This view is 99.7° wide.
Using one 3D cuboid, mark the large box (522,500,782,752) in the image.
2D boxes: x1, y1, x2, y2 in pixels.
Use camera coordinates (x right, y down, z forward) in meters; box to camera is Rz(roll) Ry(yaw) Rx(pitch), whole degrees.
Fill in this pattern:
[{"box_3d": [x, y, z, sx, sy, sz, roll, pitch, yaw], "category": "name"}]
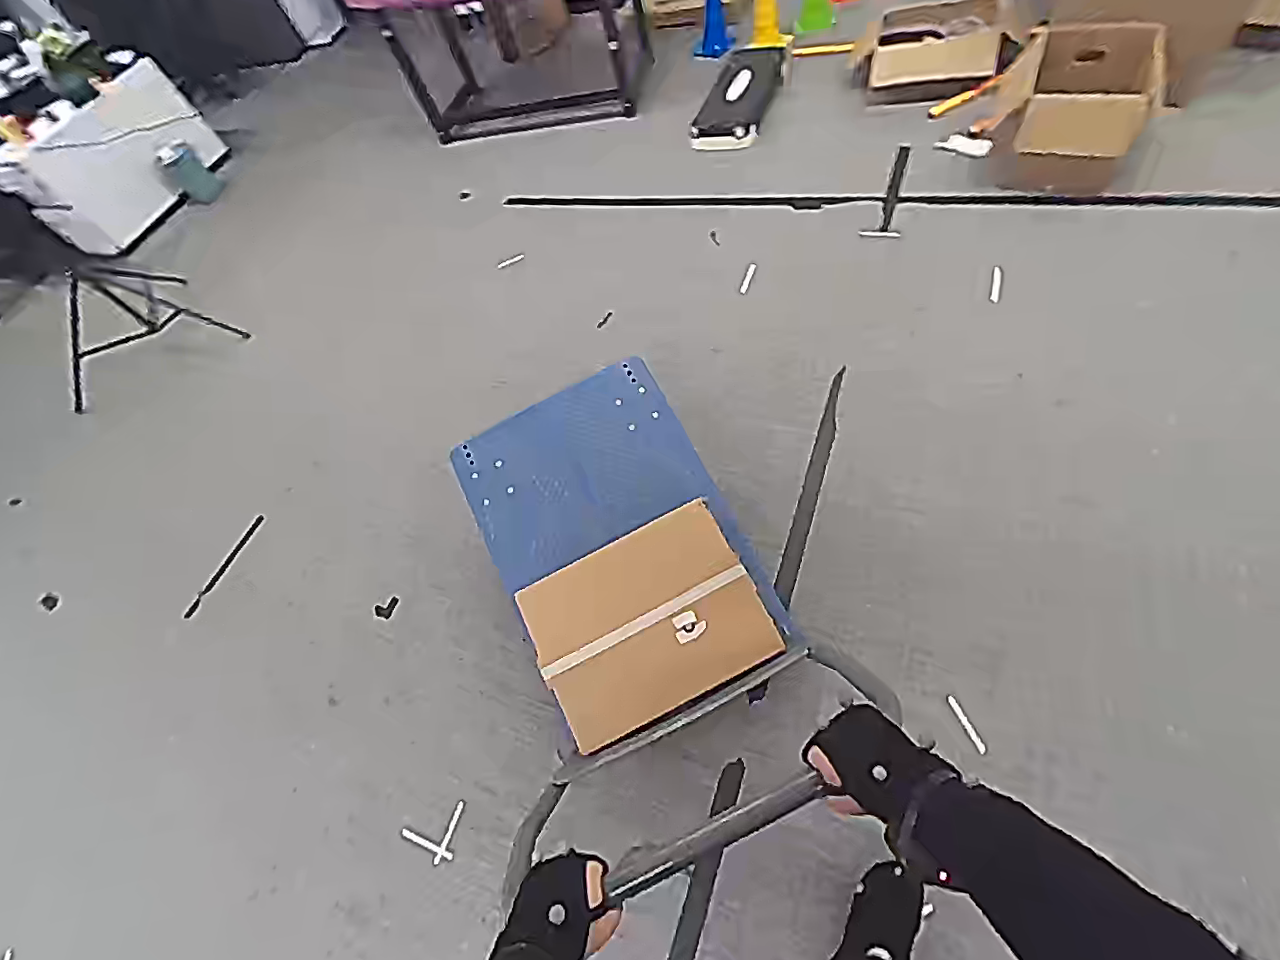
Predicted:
[{"box_3d": [0.027, 0.301, 1.143, 0.408, 0.320, 0.320, -28, 74, -3], "category": "large box"}]
